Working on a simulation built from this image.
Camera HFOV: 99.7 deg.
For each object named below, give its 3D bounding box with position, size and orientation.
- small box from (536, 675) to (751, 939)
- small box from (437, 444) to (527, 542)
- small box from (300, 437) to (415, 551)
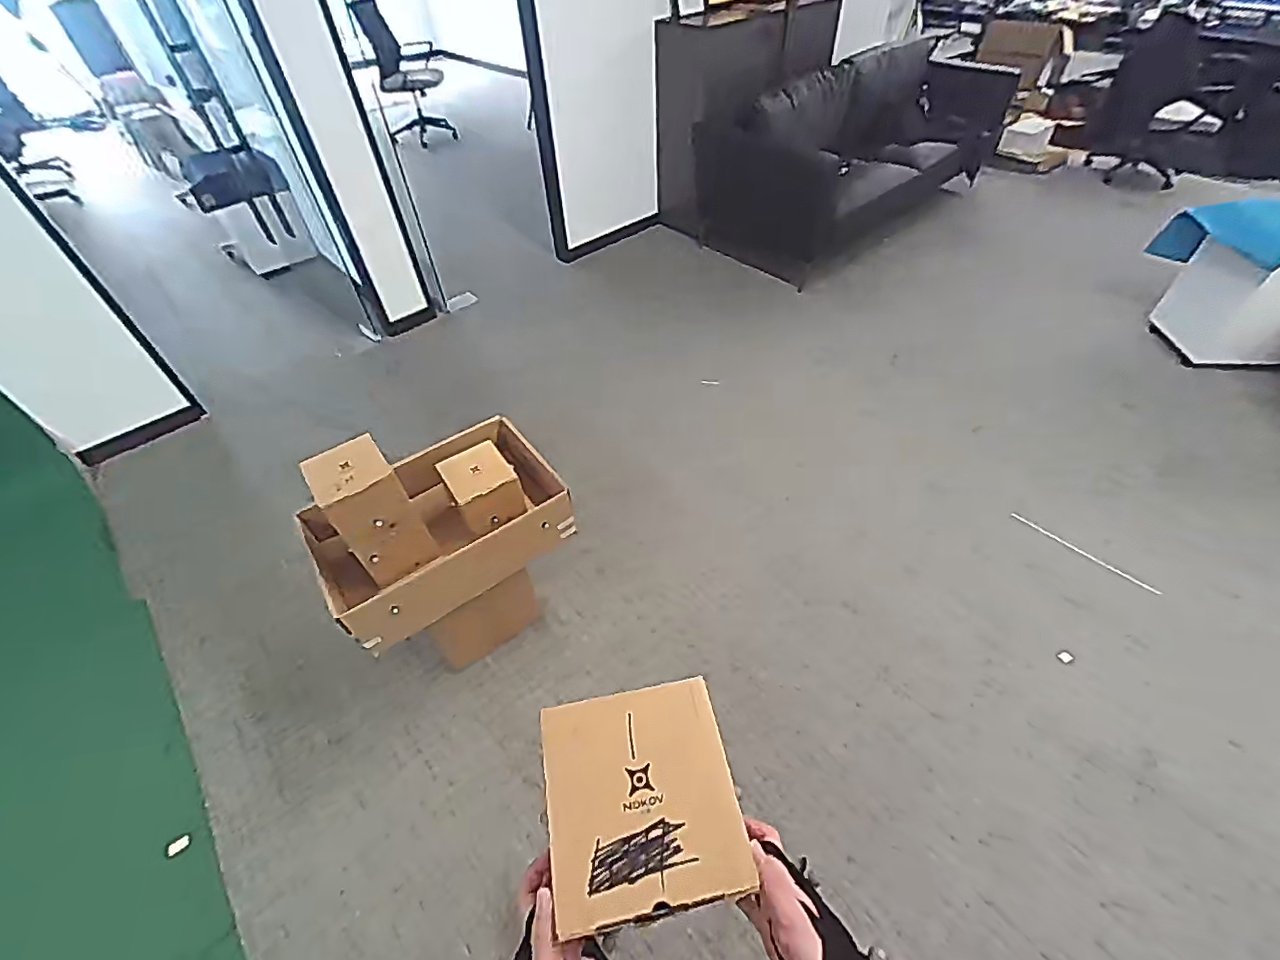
[{"bbox_3d":[-0.003,0.318,0.528,0.168,0.176,0.179,-9,49,-6],"label":"small box"},{"bbox_3d":[-0.433,0.037,1.493,0.168,0.176,0.179,-29,53,-22],"label":"small box"},{"bbox_3d":[-0.664,0.035,1.280,0.168,0.176,0.179,-31,53,-22],"label":"small box"}]
